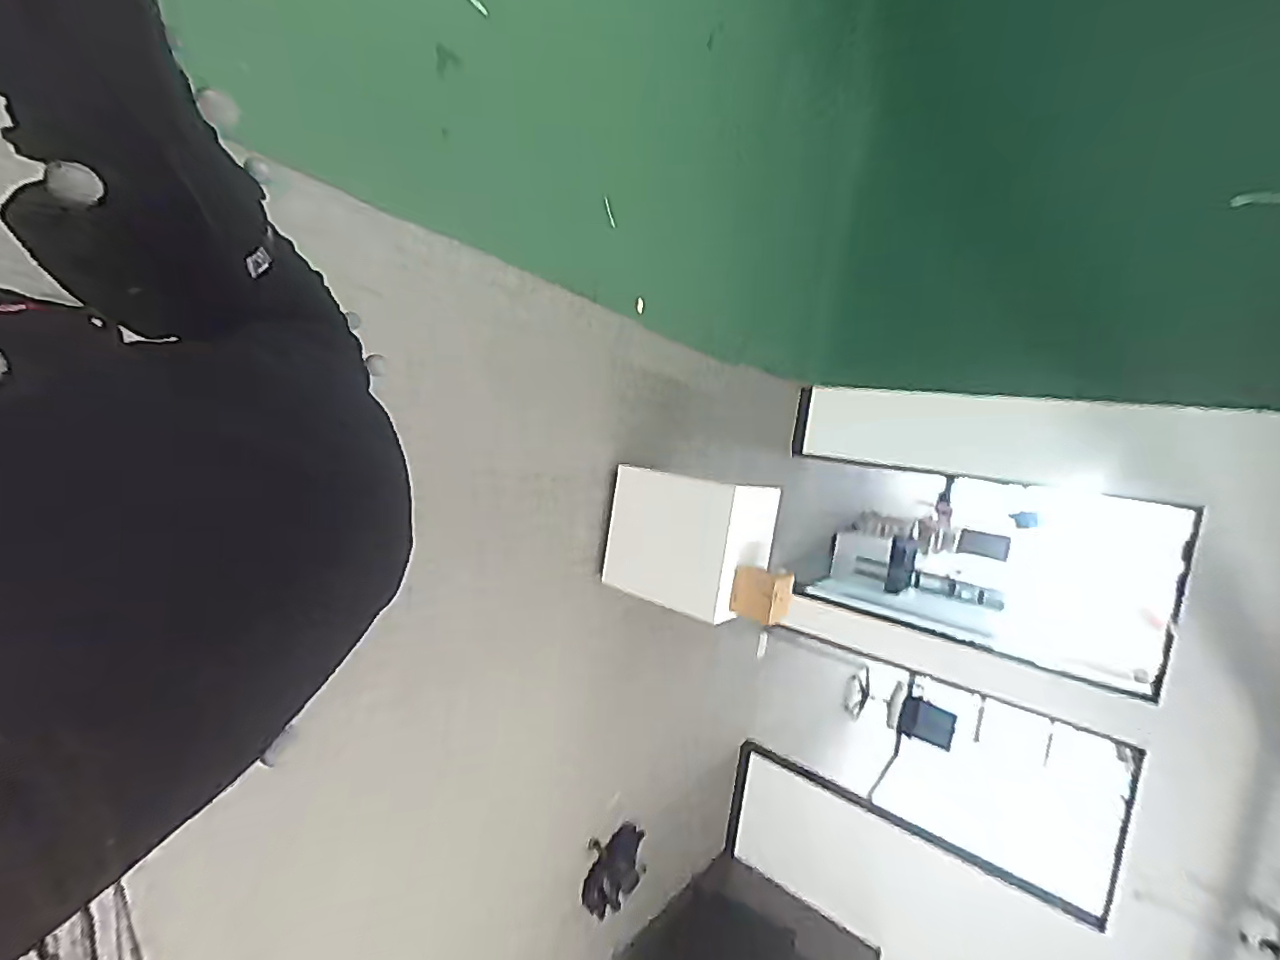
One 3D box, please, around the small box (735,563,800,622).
[{"bbox_3d":[0.481,0.418,2.038,0.179,0.176,0.168,3,96,-52],"label":"small box"}]
